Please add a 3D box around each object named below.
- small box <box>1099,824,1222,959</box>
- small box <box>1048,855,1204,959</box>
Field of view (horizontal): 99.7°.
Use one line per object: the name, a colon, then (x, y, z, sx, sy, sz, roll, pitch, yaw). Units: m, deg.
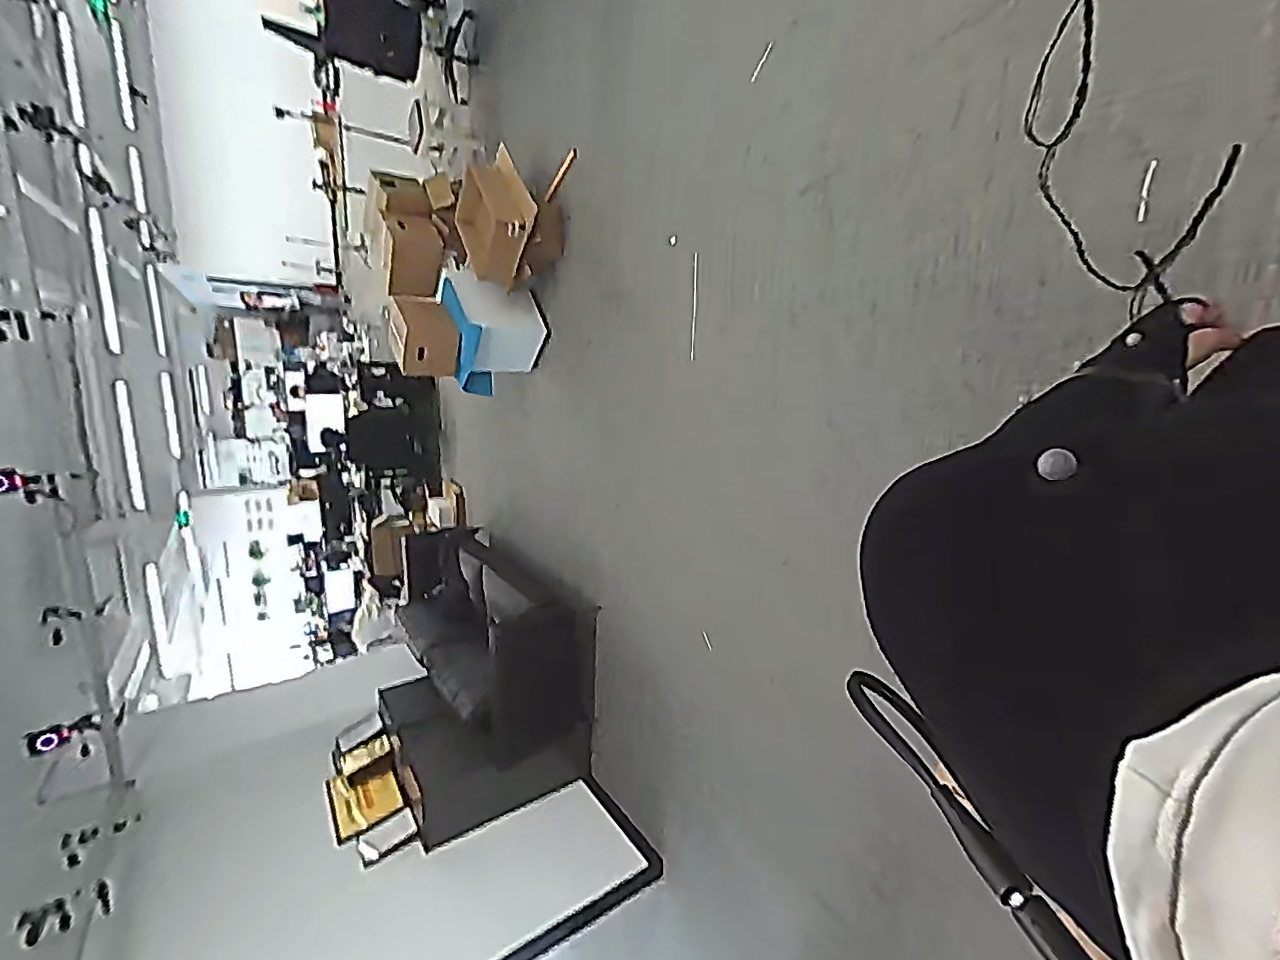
small box: (1.056, 0.862, 1.113, 0.168, 0.176, 0.179, 15, 108, 53)
small box: (0.919, 0.865, 1.022, 0.179, 0.176, 0.168, 17, 108, 53)
